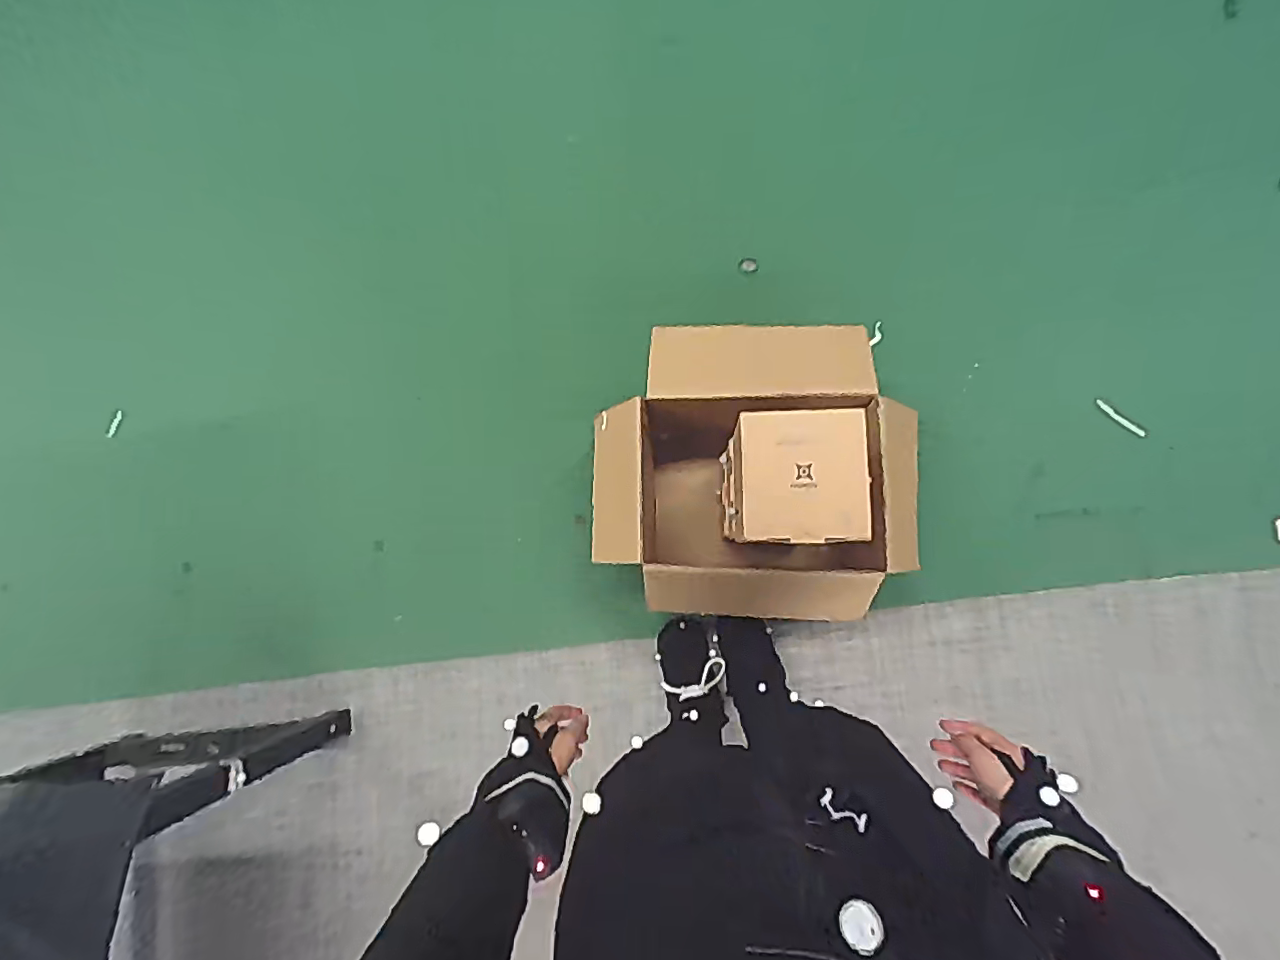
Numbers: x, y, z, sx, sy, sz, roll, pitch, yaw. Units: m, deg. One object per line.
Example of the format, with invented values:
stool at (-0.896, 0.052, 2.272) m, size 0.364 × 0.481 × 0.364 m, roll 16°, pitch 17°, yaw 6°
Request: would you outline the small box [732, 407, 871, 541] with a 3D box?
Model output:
small box at (0.224, 0.001, 0.789) m, size 0.168 × 0.176 × 0.179 m, roll -2°, pitch 82°, yaw 5°
